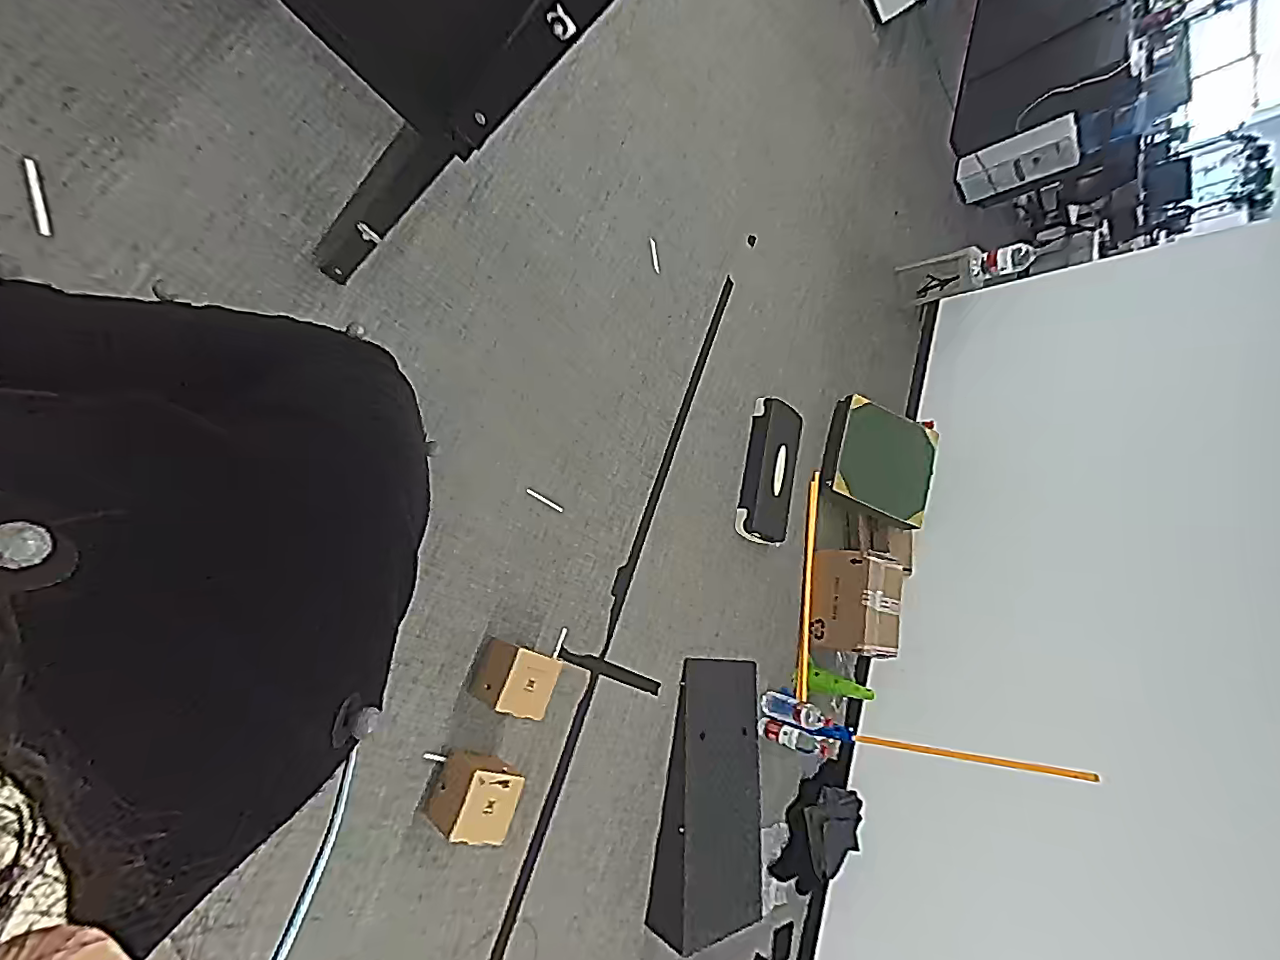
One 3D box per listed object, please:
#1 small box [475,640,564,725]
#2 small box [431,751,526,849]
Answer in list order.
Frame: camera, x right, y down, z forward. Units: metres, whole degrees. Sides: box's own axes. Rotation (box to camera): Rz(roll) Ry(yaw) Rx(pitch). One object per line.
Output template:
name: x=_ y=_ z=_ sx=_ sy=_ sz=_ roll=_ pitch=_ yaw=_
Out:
small box: x=-0.360 y=0.590 z=1.587 sx=0.168 sy=0.176 sz=0.179 roll=35 pitch=66 yaw=-36
small box: x=-0.452 y=0.883 z=1.496 sx=0.168 sy=0.176 sz=0.179 roll=34 pitch=67 yaw=-37
